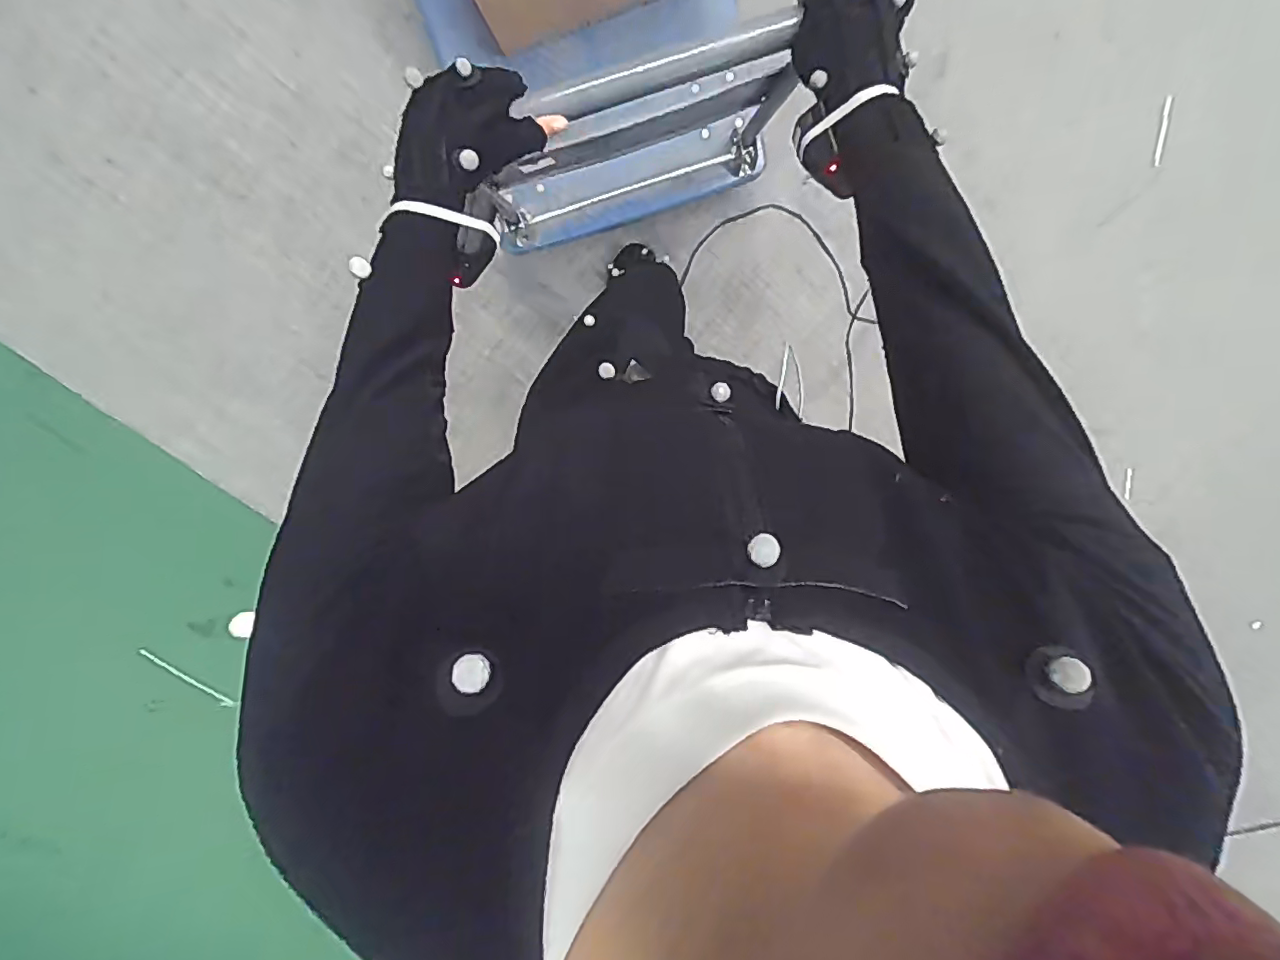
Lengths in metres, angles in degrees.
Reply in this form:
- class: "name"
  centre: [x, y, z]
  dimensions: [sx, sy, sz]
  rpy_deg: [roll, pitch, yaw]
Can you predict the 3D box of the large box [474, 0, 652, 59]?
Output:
- class: "large box"
  centre: [-0.117, -0.960, 0.844]
  dimensions: [0.408, 0.320, 0.320]
  rpy_deg: [-18, 107, 5]
